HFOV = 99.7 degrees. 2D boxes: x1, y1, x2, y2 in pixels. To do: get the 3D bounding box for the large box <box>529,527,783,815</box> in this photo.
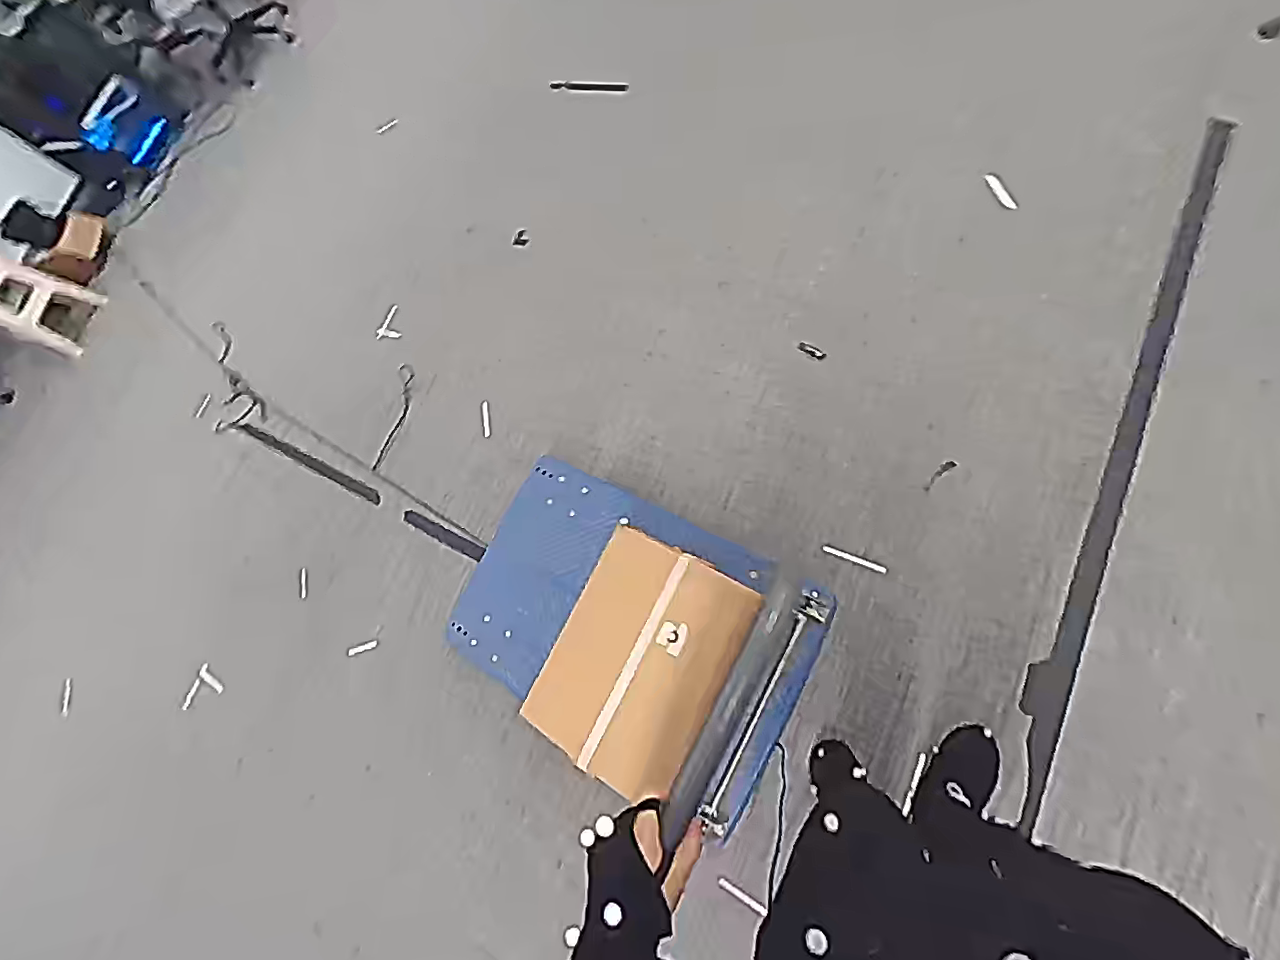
[{"bbox_3d":[0.053,0.366,1.099,0.320,0.320,0.408,25,83,26],"label":"large box"}]
